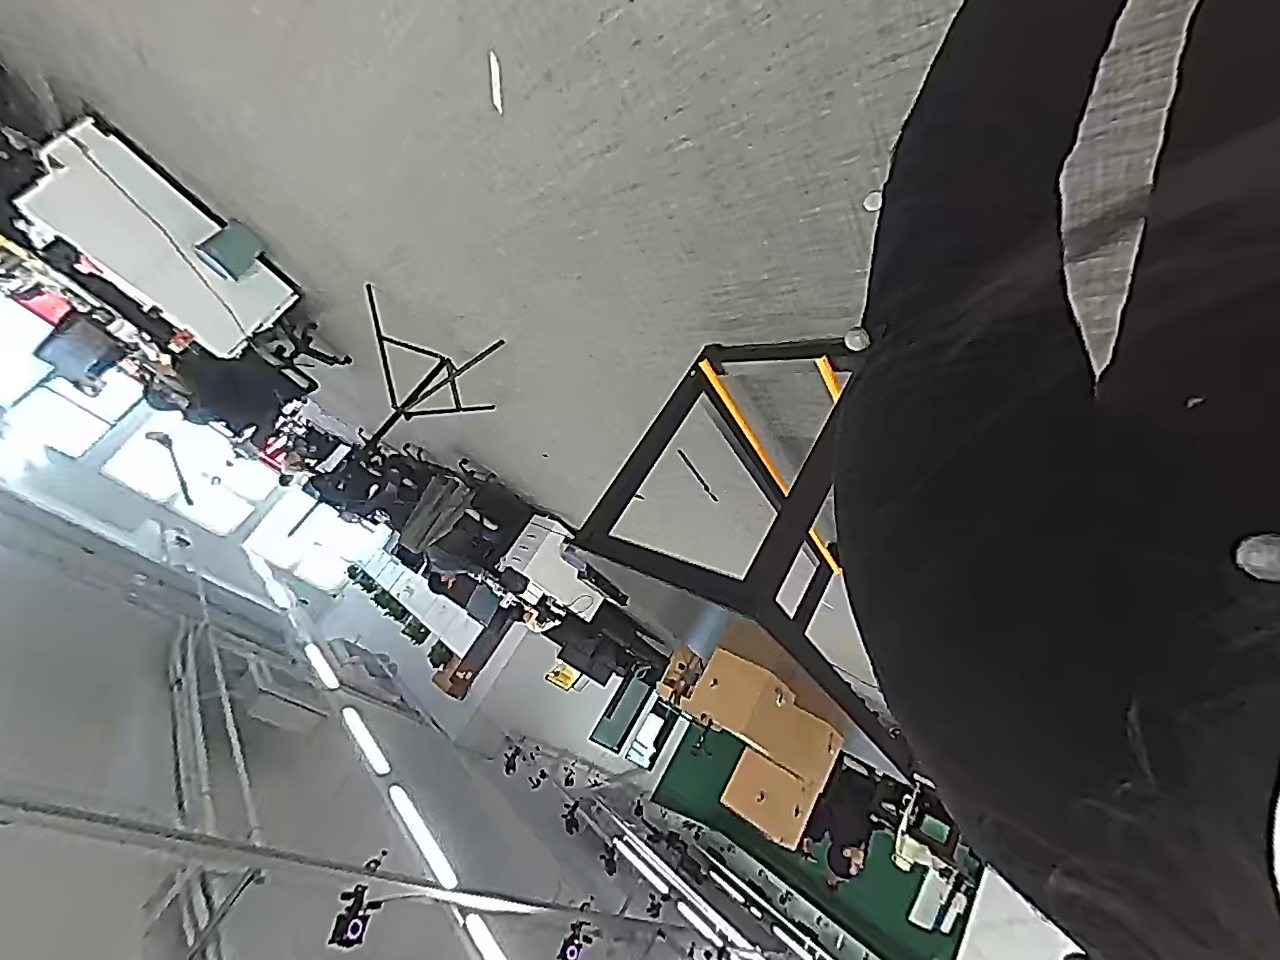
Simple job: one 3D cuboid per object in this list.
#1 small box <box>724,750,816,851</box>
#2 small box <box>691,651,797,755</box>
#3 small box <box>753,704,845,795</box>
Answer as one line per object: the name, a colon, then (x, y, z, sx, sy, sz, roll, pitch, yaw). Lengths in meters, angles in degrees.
small box: (0.375, 0.901, 1.529, 0.179, 0.176, 0.168, 10, 150, 49)
small box: (0.269, 0.564, 1.390, 0.179, 0.176, 0.168, 10, 152, 49)
small box: (0.466, 0.771, 1.572, 0.179, 0.176, 0.168, 13, 153, 46)
